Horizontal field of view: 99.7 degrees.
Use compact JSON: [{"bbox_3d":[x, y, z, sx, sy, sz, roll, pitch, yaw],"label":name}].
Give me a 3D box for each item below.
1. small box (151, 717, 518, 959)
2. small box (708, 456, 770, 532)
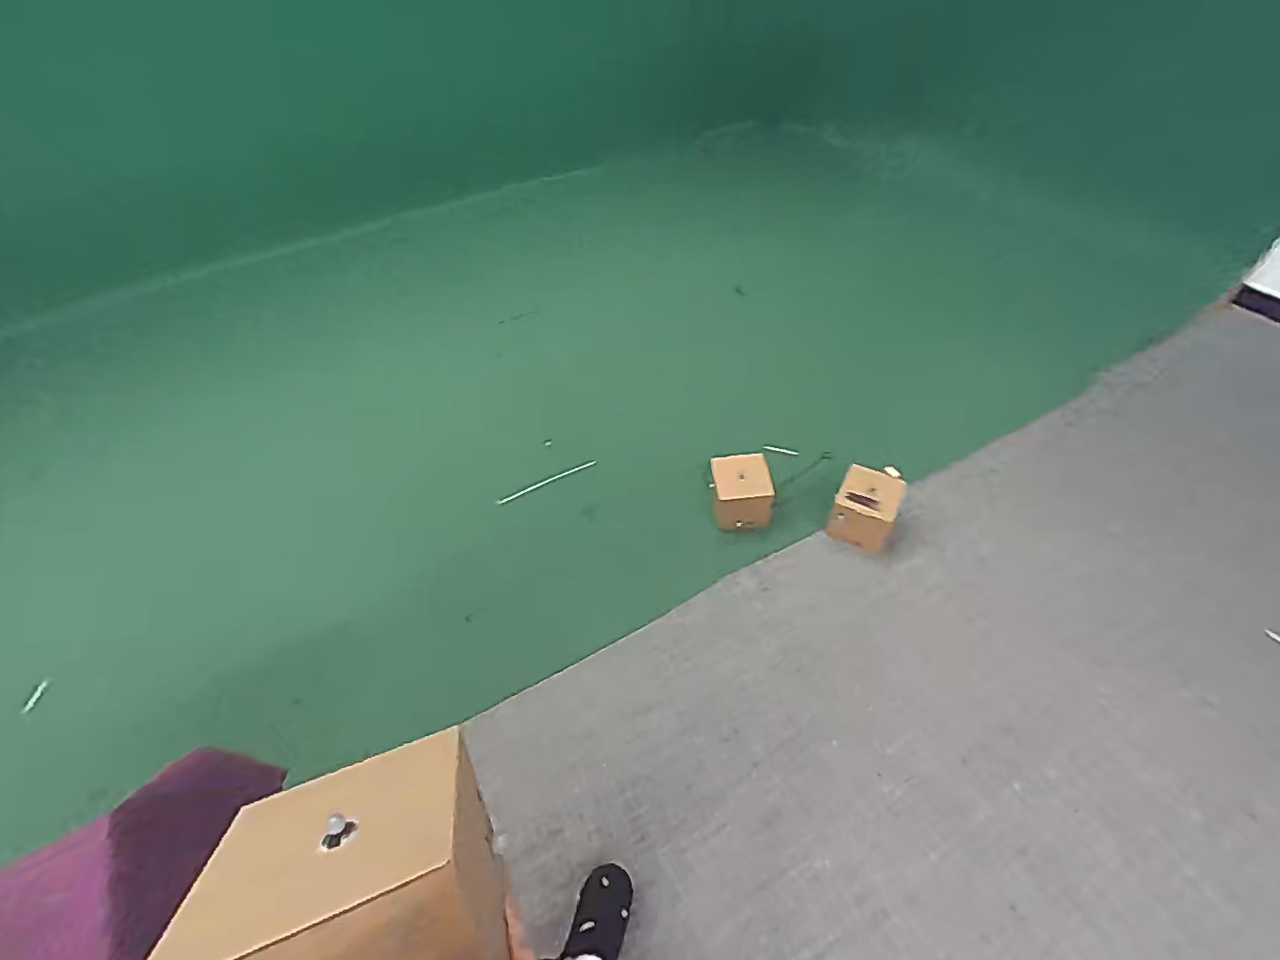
[{"bbox_3d":[-0.194,0.314,0.403,0.179,0.168,0.176,-16,9,-16],"label":"small box"},{"bbox_3d":[0.314,0.046,1.745,0.168,0.176,0.179,-6,50,1],"label":"small box"}]
